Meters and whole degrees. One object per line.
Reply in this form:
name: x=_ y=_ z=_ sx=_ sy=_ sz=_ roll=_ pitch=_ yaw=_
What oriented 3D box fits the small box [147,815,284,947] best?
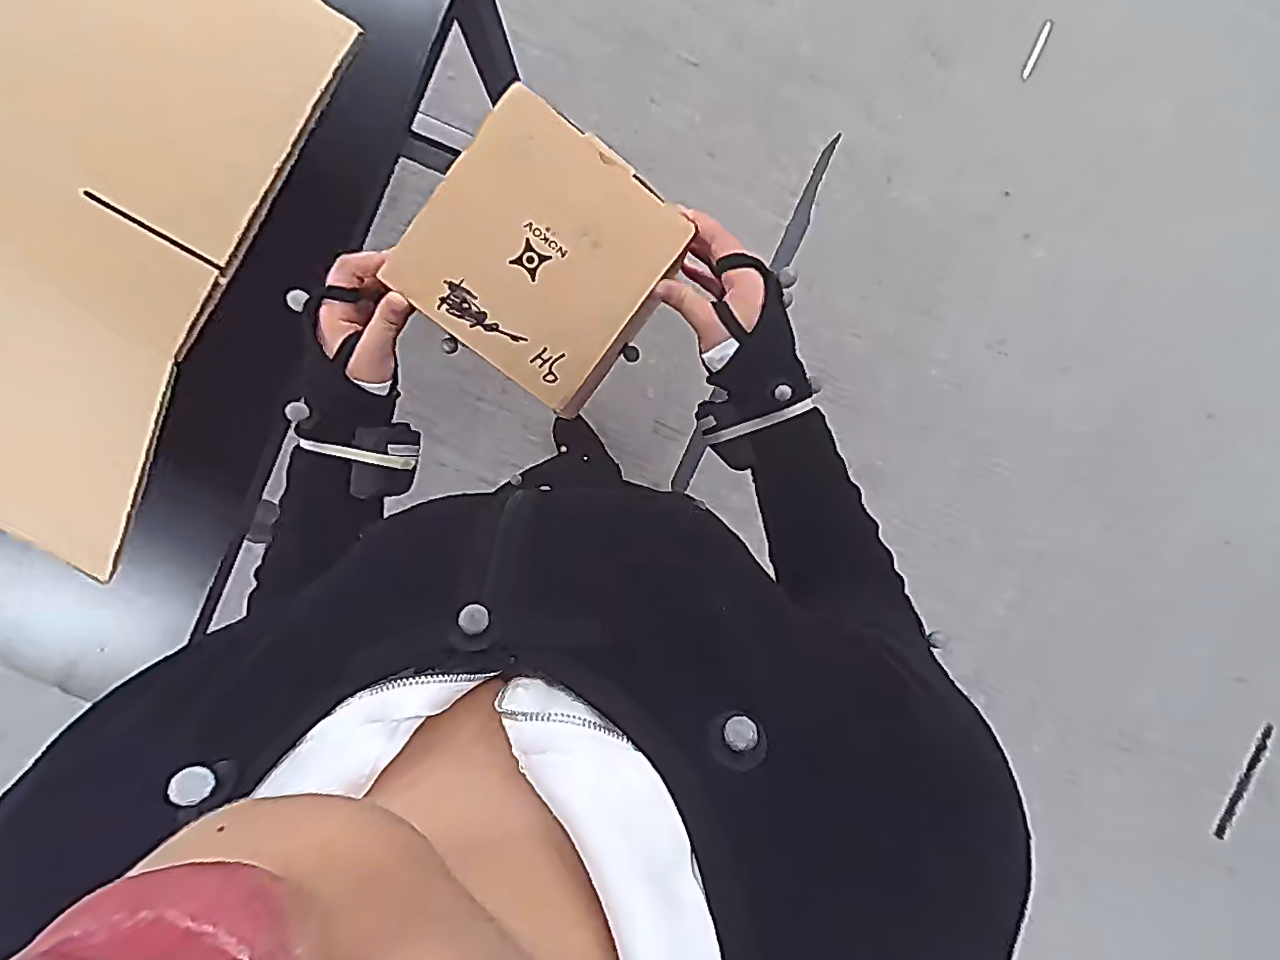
small box: x=-0.990 y=0.935 z=1.277 sx=0.179 sy=0.176 sz=0.168 roll=17 pitch=92 yaw=0

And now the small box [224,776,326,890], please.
small box: x=-0.985 y=0.928 z=1.439 sx=0.179 sy=0.176 sz=0.168 roll=20 pitch=93 yaw=-2
